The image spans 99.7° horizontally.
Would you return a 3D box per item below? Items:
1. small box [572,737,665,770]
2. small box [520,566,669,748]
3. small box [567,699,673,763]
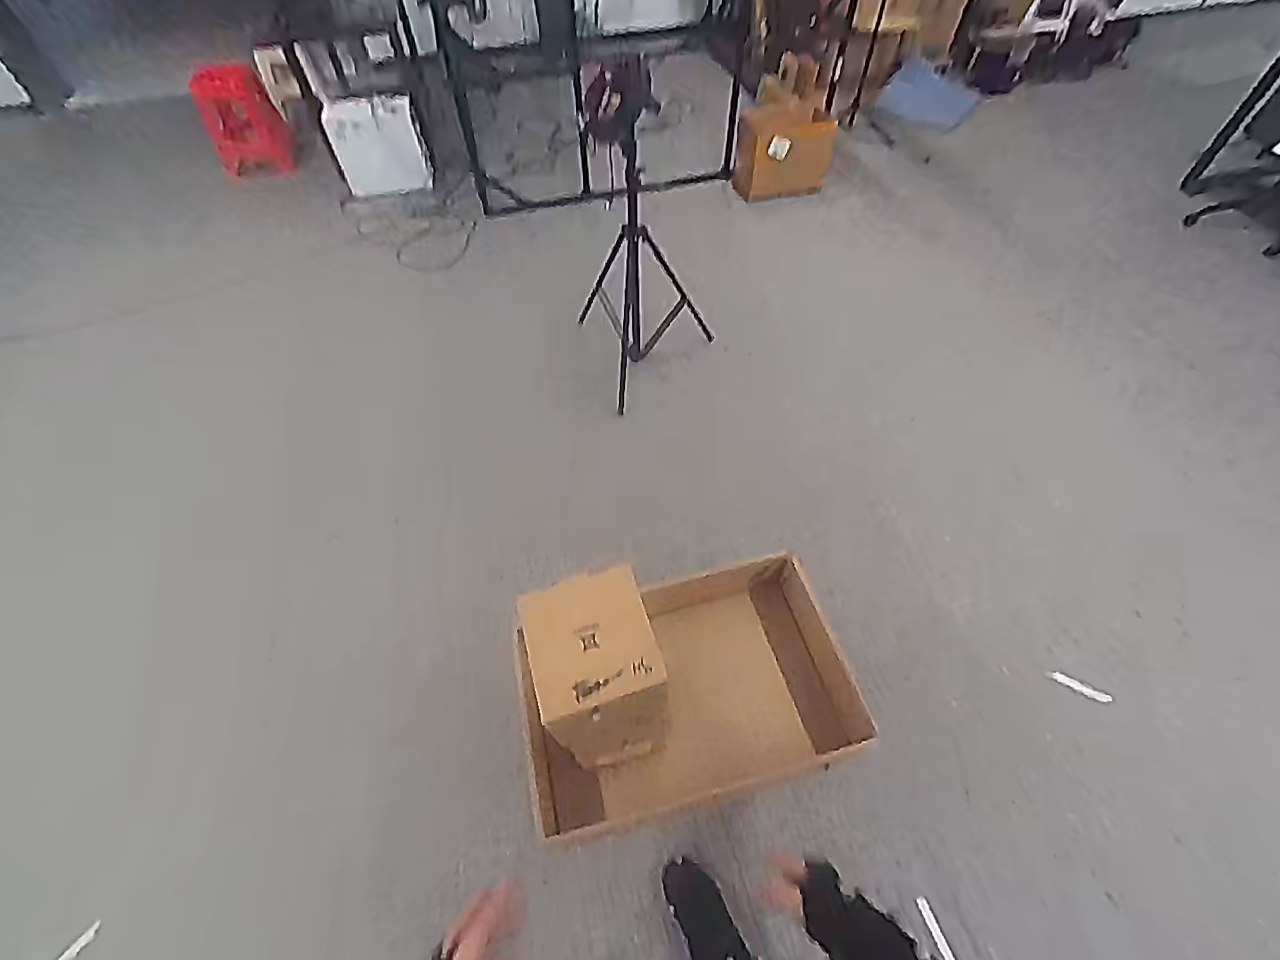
[{"bbox_3d":[-0.052,0.443,1.045,0.168,0.176,0.179,-14,54,-8],"label":"small box"},{"bbox_3d":[-0.063,0.255,0.775,0.168,0.176,0.179,-16,54,-8],"label":"small box"},{"bbox_3d":[-0.050,0.350,0.909,0.168,0.176,0.179,-16,56,-8],"label":"small box"}]
